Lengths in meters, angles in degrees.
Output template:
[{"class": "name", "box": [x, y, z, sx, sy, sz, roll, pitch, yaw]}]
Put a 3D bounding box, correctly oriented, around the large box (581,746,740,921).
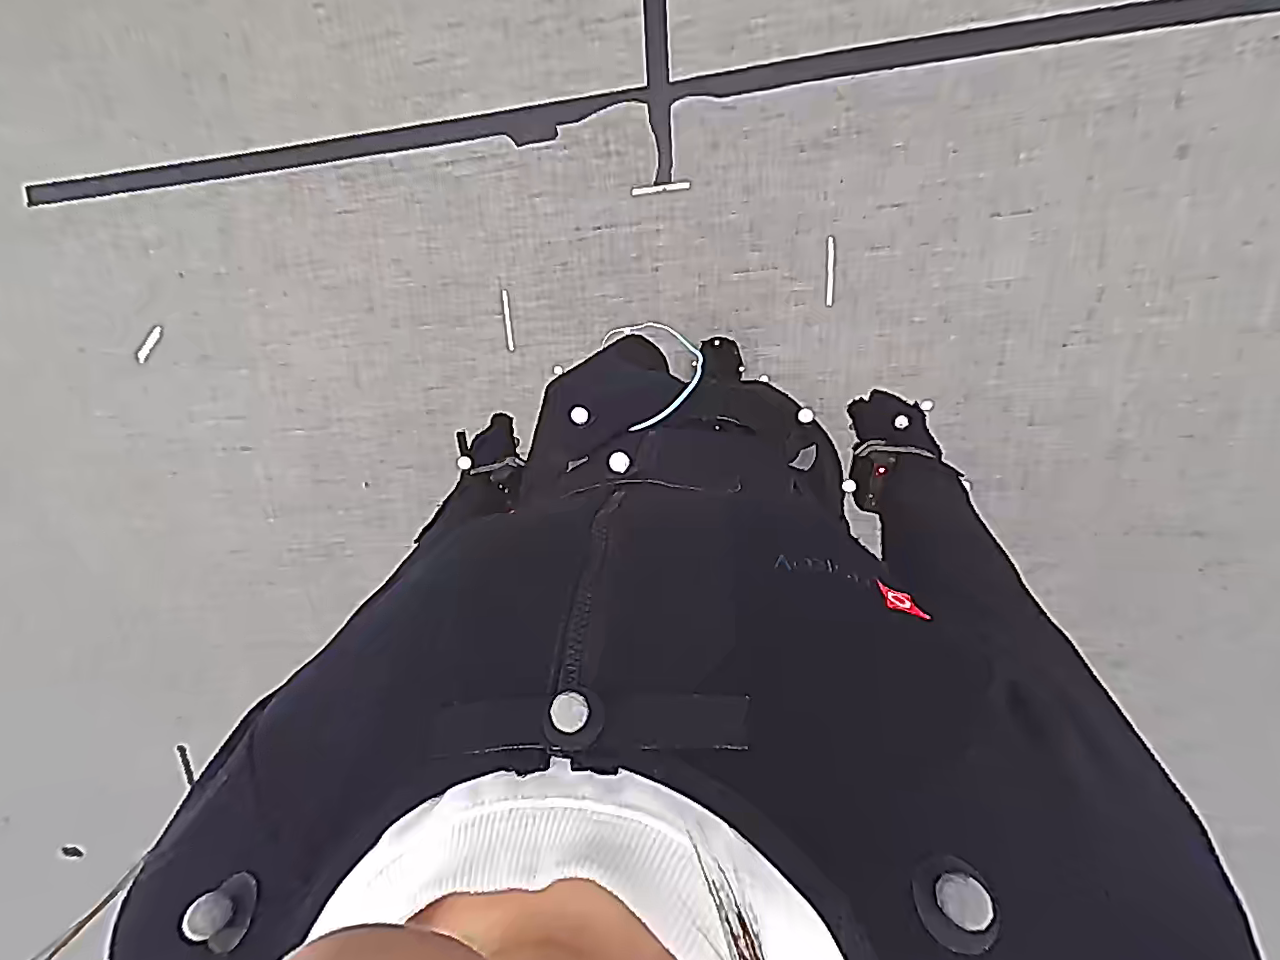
[{"class": "large box", "box": [0.071, 1.020, 1.586, 0.408, 0.320, 0.320, -5, 106, 8]}]
